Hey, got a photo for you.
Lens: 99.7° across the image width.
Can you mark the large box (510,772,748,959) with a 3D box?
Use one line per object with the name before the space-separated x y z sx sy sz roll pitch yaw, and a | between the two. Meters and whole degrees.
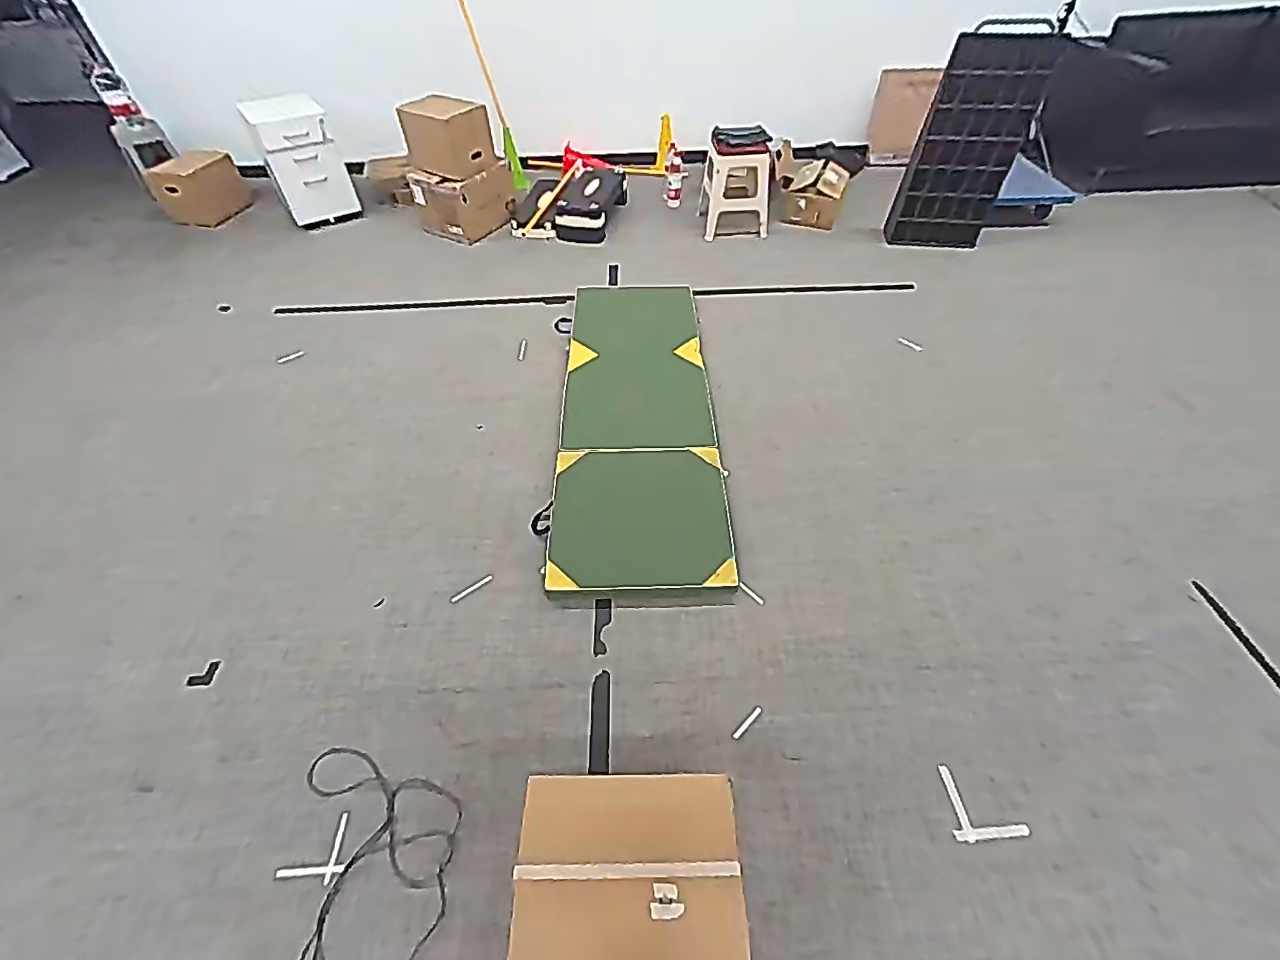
large box | -0.023 0.807 1.094 0.408 0.320 0.320 0 48 0
